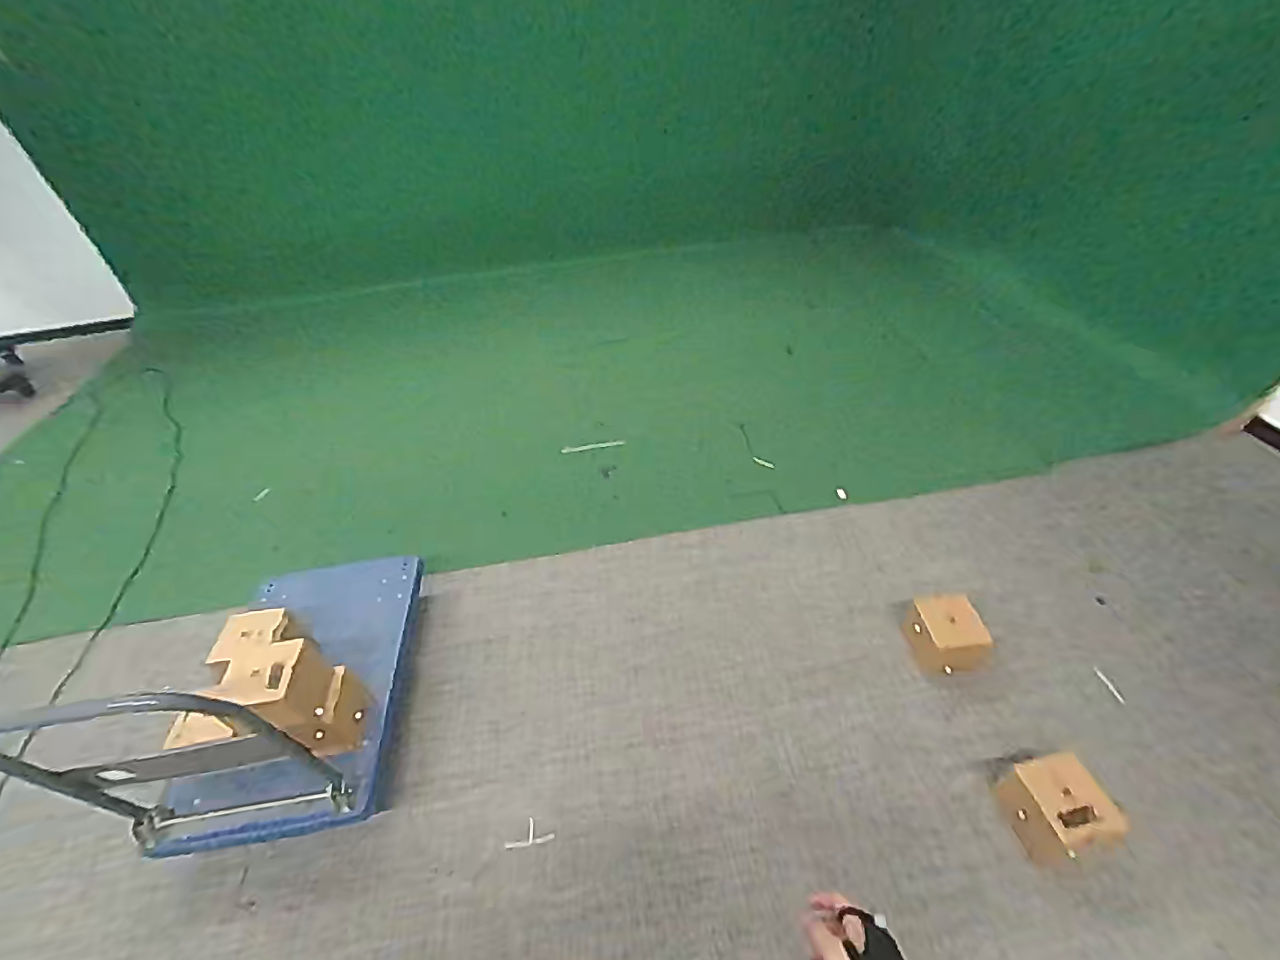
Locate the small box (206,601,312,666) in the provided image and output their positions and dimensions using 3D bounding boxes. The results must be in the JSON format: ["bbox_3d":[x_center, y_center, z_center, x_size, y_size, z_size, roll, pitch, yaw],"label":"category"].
[{"bbox_3d":[-1.152,0.492,1.651,0.179,0.176,0.168,-6,43,0],"label":"small box"}]

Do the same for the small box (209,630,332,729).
[{"bbox_3d":[-0.919,0.507,1.368,0.179,0.176,0.168,-9,42,-2],"label":"small box"}]

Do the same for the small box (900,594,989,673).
[{"bbox_3d":[0.946,0.482,1.699,0.168,0.176,0.179,-5,43,2],"label":"small box"}]

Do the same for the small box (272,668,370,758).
[{"bbox_3d":[-0.884,0.629,1.486,0.168,0.176,0.179,14,47,18],"label":"small box"}]
